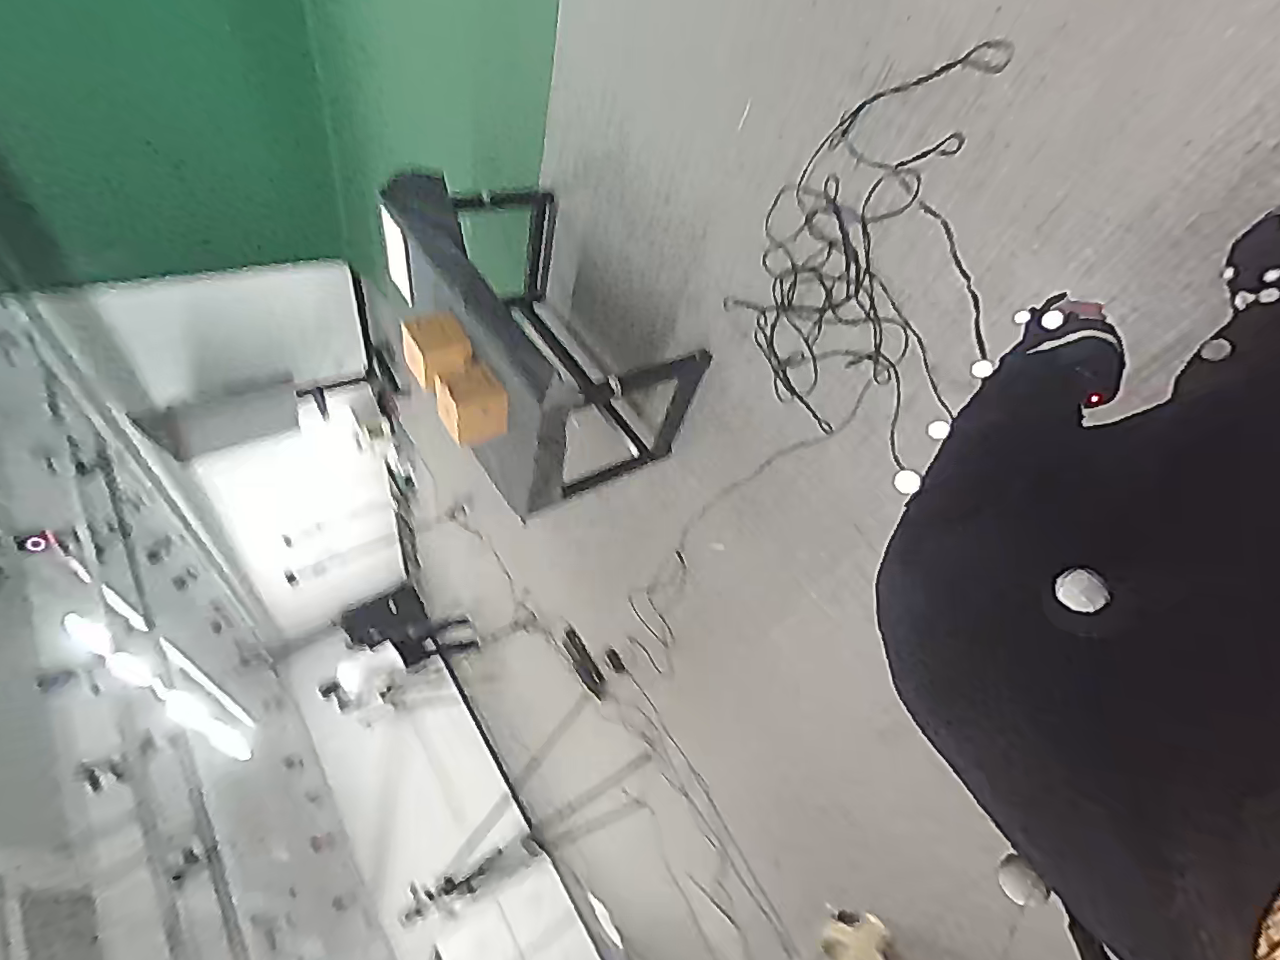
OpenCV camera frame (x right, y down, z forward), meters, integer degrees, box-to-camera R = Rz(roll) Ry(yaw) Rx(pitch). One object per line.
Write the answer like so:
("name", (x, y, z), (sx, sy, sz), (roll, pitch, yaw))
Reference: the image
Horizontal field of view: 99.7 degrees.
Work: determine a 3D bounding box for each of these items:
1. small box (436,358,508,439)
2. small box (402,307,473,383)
("small box", (-0.528, -0.264, 1.717), (0.168, 0.176, 0.179), (50, 146, 27))
("small box", (-0.673, -0.458, 1.810), (0.179, 0.176, 0.168), (55, 147, 19))
